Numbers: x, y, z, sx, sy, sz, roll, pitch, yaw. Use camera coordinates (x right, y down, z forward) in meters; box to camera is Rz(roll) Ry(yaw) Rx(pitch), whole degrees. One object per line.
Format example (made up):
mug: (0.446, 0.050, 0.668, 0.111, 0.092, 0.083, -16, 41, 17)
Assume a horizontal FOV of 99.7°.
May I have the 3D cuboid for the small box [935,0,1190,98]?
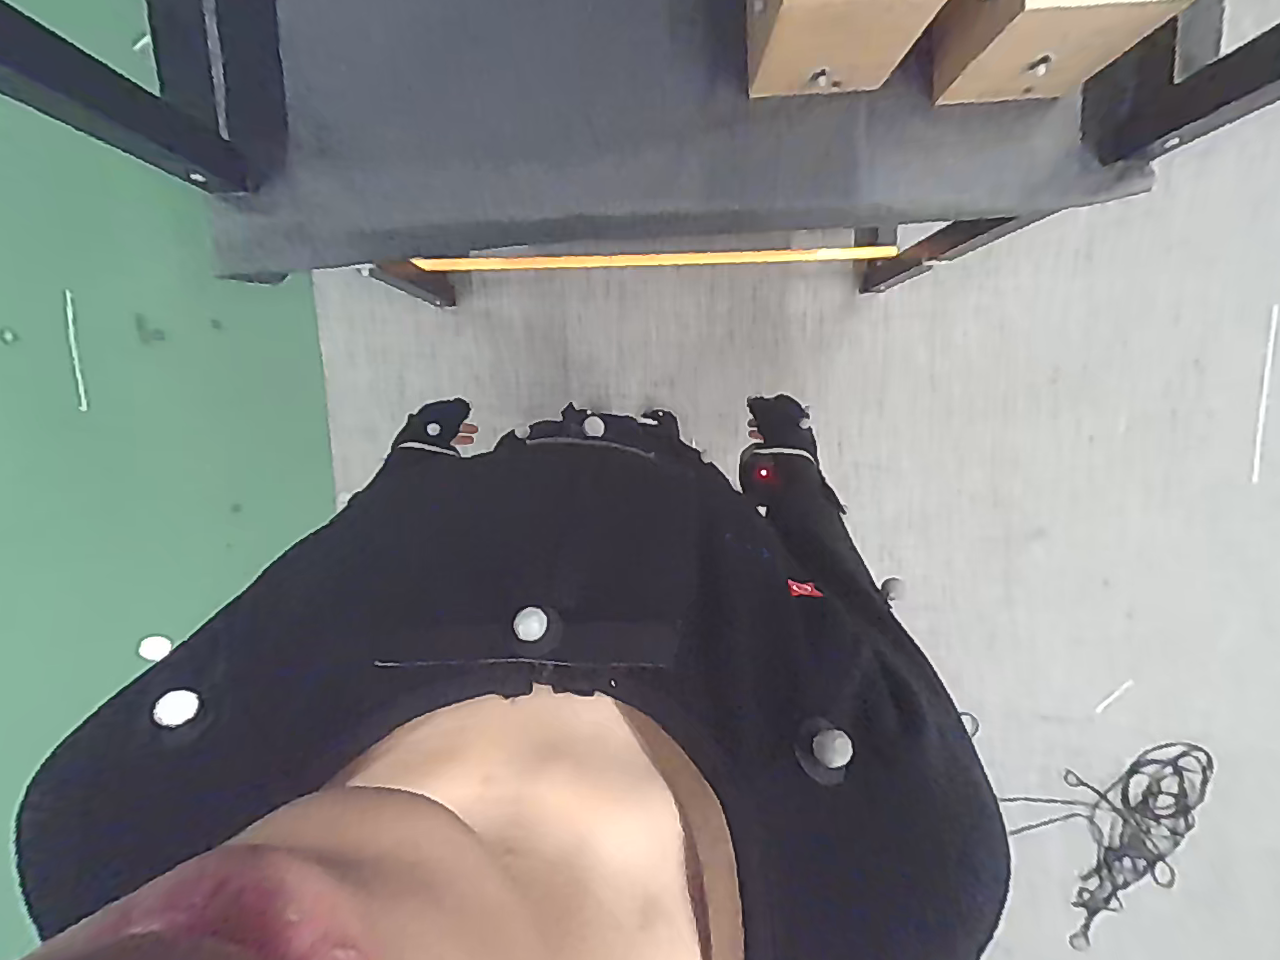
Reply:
small box: (0.446, -0.548, 0.588, 0.168, 0.176, 0.179, -3, 97, 1)
